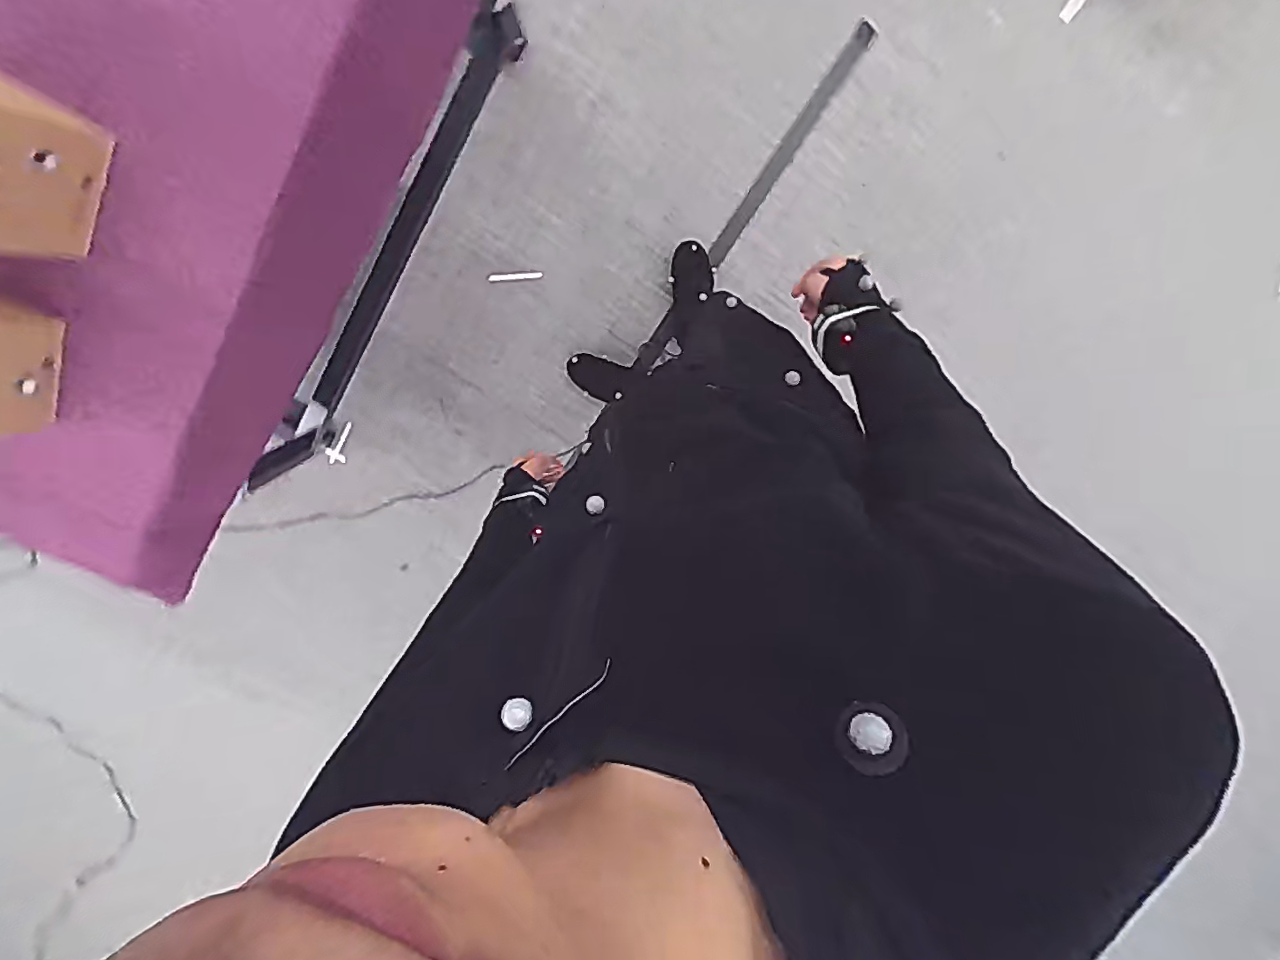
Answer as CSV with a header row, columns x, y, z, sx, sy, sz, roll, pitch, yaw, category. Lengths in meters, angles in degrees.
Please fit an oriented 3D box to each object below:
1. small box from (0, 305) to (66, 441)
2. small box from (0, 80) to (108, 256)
x,y,z,sx,sy,sz,roll,pitch,yaw,category
-0.900,-0.144,0.679,0.179,0.176,0.168,21,108,-10,small box
-0.770,-0.370,0.607,0.179,0.176,0.168,28,105,-12,small box
